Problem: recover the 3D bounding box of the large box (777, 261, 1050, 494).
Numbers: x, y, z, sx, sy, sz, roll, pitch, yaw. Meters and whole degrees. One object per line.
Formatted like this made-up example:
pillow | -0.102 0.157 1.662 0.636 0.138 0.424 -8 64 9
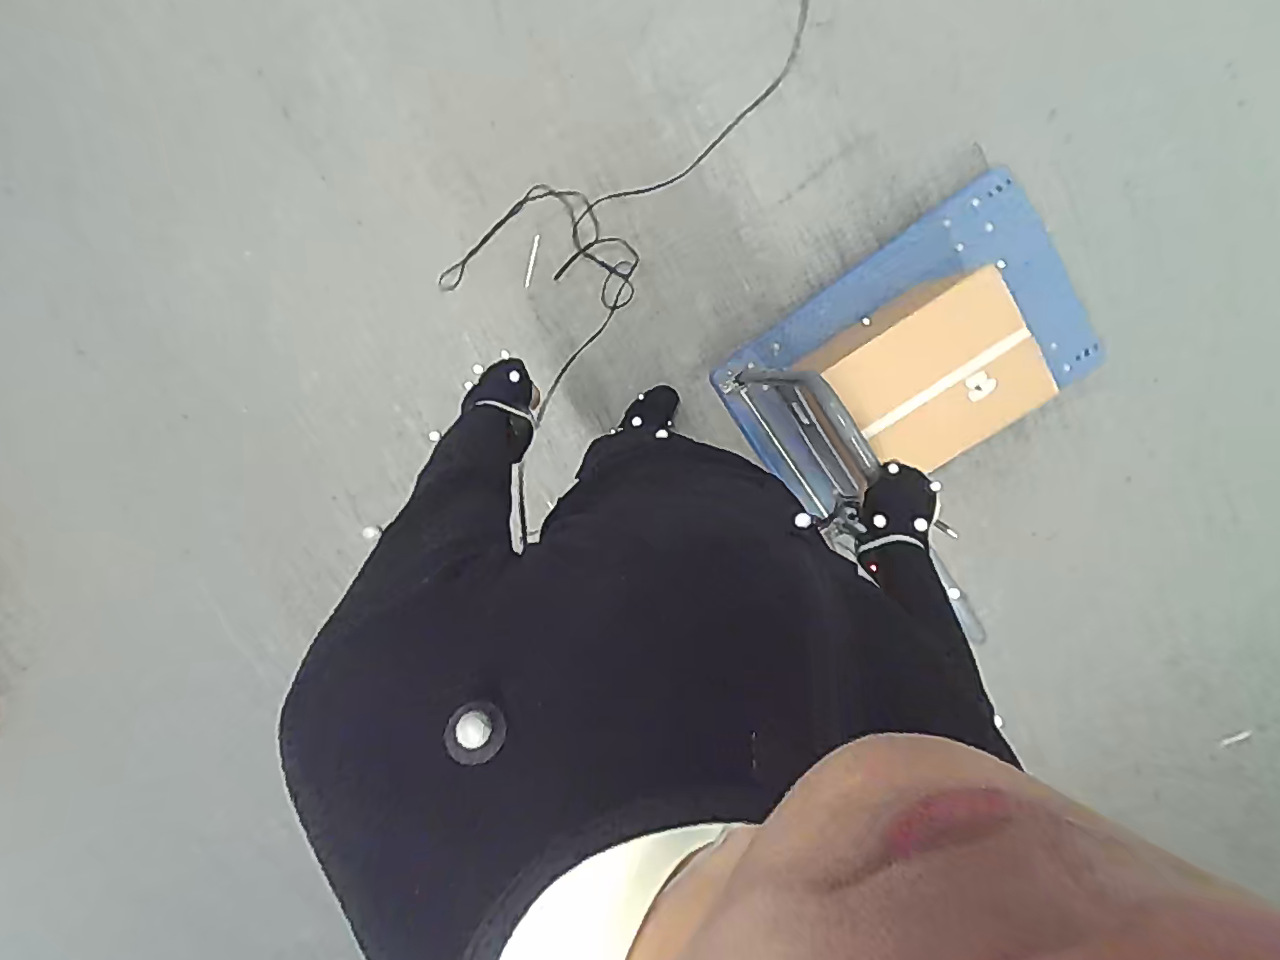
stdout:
large box | 0.596 -0.227 1.253 0.408 0.320 0.320 -34 101 6
